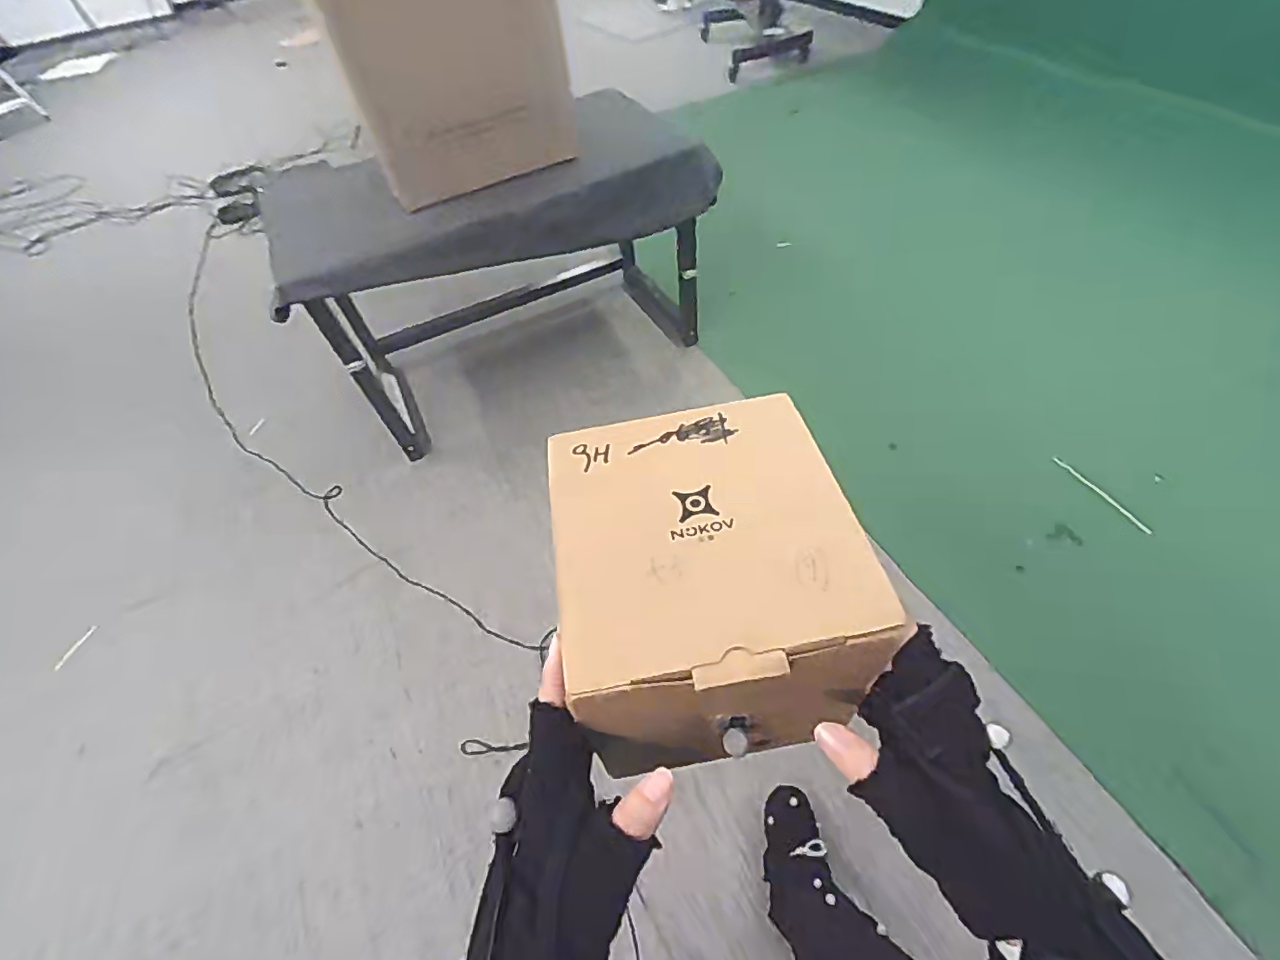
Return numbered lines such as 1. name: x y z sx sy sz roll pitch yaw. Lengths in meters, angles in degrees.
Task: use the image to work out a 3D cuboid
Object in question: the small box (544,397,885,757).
1. small box: 0.036 0.074 0.370 0.168 0.176 0.179 -10 50 -1
